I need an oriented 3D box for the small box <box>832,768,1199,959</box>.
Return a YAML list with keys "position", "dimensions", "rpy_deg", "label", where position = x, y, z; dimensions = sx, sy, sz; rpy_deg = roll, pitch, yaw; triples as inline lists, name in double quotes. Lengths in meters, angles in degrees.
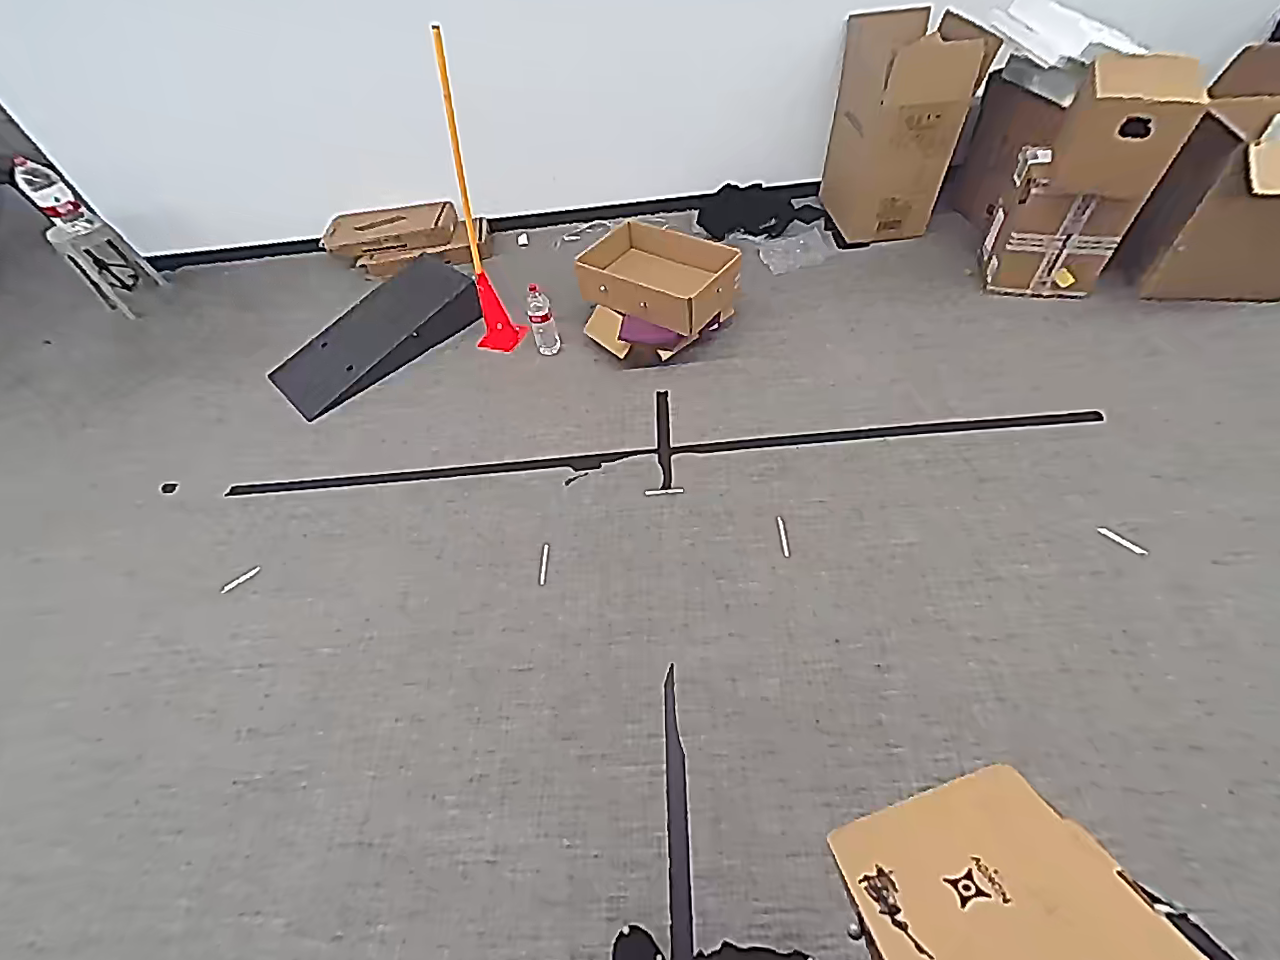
- position: [0.284, 0.377, 0.424]
  dimensions: [0.179, 0.176, 0.168]
  rpy_deg: [-22, 12, 1]
  label: "small box"
